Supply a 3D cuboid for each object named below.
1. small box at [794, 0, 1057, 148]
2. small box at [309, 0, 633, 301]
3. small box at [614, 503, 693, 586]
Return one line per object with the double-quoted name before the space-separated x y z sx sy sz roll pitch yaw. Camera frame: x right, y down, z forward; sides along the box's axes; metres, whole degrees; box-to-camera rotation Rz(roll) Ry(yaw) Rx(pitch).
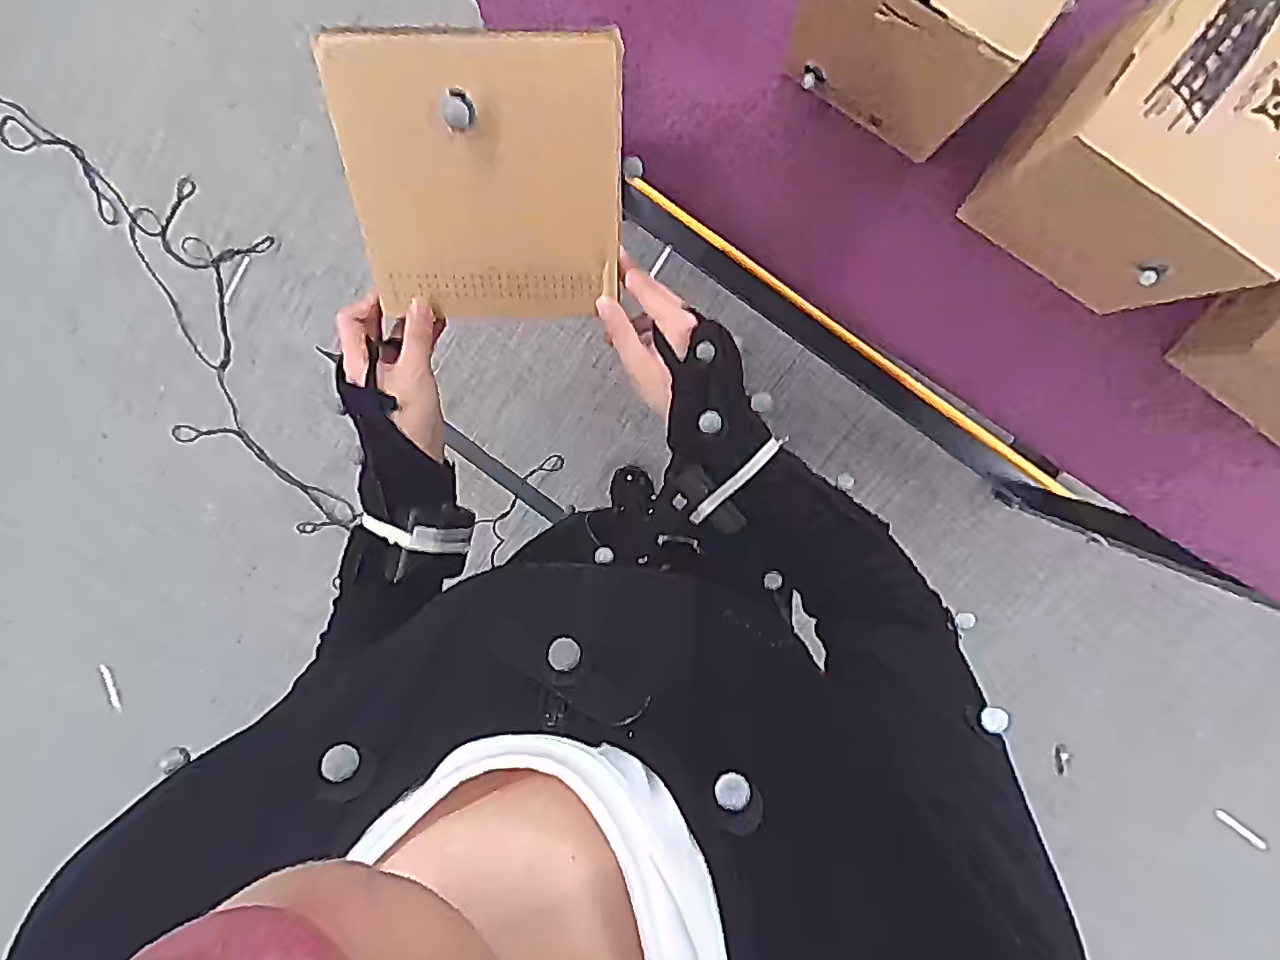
"small box" 0.241 -0.411 0.426 0.168 0.176 0.179 33 100 -1
"small box" -0.095 -0.239 0.404 0.179 0.168 0.176 0 126 -1
"small box" 0.030 0.147 1.277 0.179 0.176 0.168 -1 95 2
